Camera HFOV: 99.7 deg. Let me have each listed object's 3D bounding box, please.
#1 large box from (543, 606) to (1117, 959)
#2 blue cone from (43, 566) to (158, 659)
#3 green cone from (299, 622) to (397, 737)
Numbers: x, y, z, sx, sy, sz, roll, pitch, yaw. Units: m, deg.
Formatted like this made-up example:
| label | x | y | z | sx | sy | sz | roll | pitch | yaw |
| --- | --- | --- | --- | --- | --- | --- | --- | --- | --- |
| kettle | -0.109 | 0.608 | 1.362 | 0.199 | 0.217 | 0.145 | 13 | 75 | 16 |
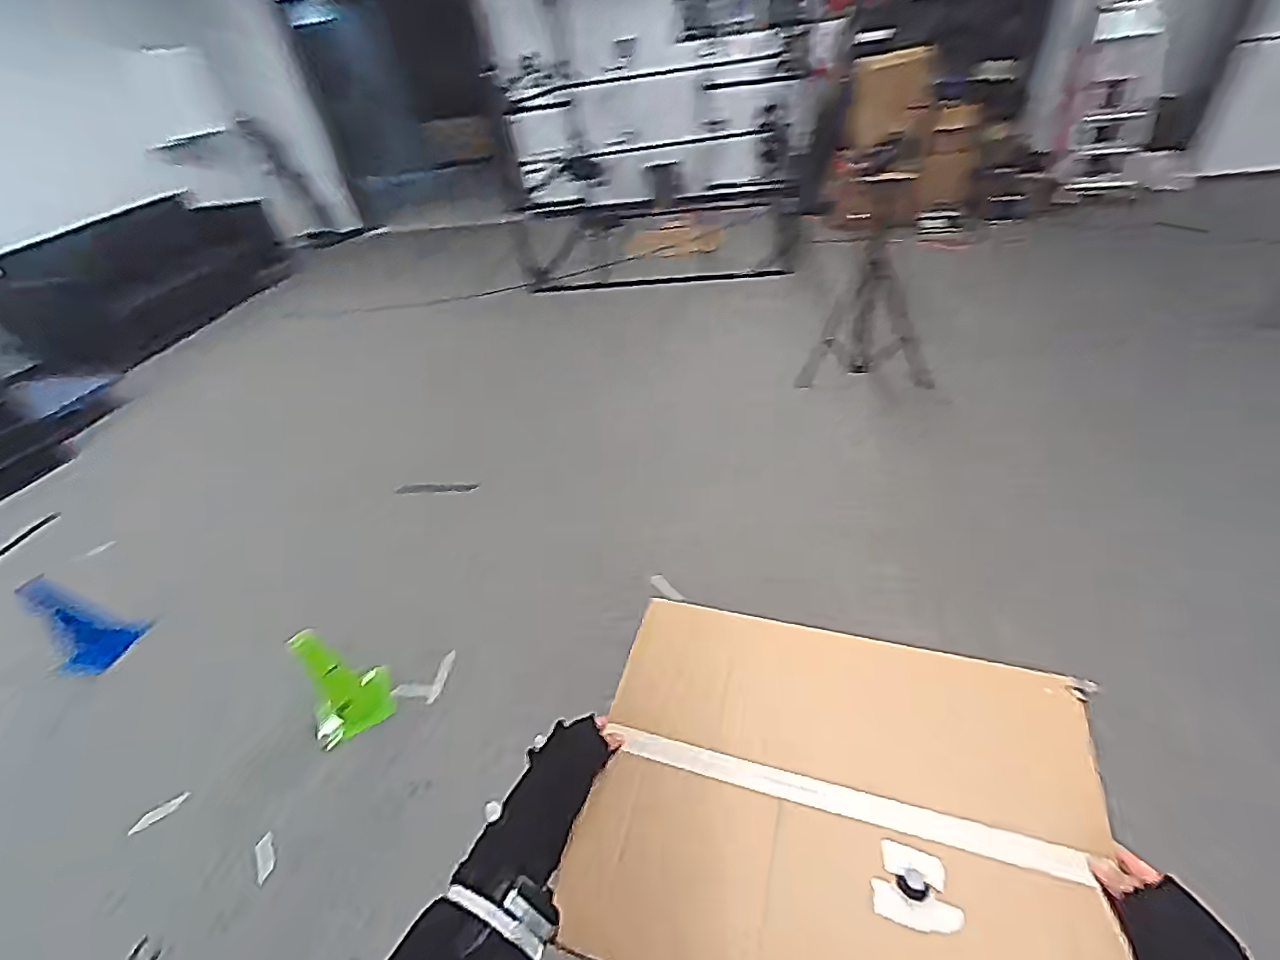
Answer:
| label | x | y | z | sx | sy | sz | roll | pitch | yaw |
| --- | --- | --- | --- | --- | --- | --- | --- | --- | --- |
| large box | 0.172 | 0.375 | 0.563 | 0.408 | 0.320 | 0.320 | 7 | 47 | 18 |
| blue cone | -1.971 | 0.456 | 1.926 | 0.193 | 0.380 | 0.192 | 3 | 39 | 13 |
| green cone | -0.893 | 0.549 | 1.595 | 0.200 | 0.368 | 0.202 | -23 | 40 | -19 |
